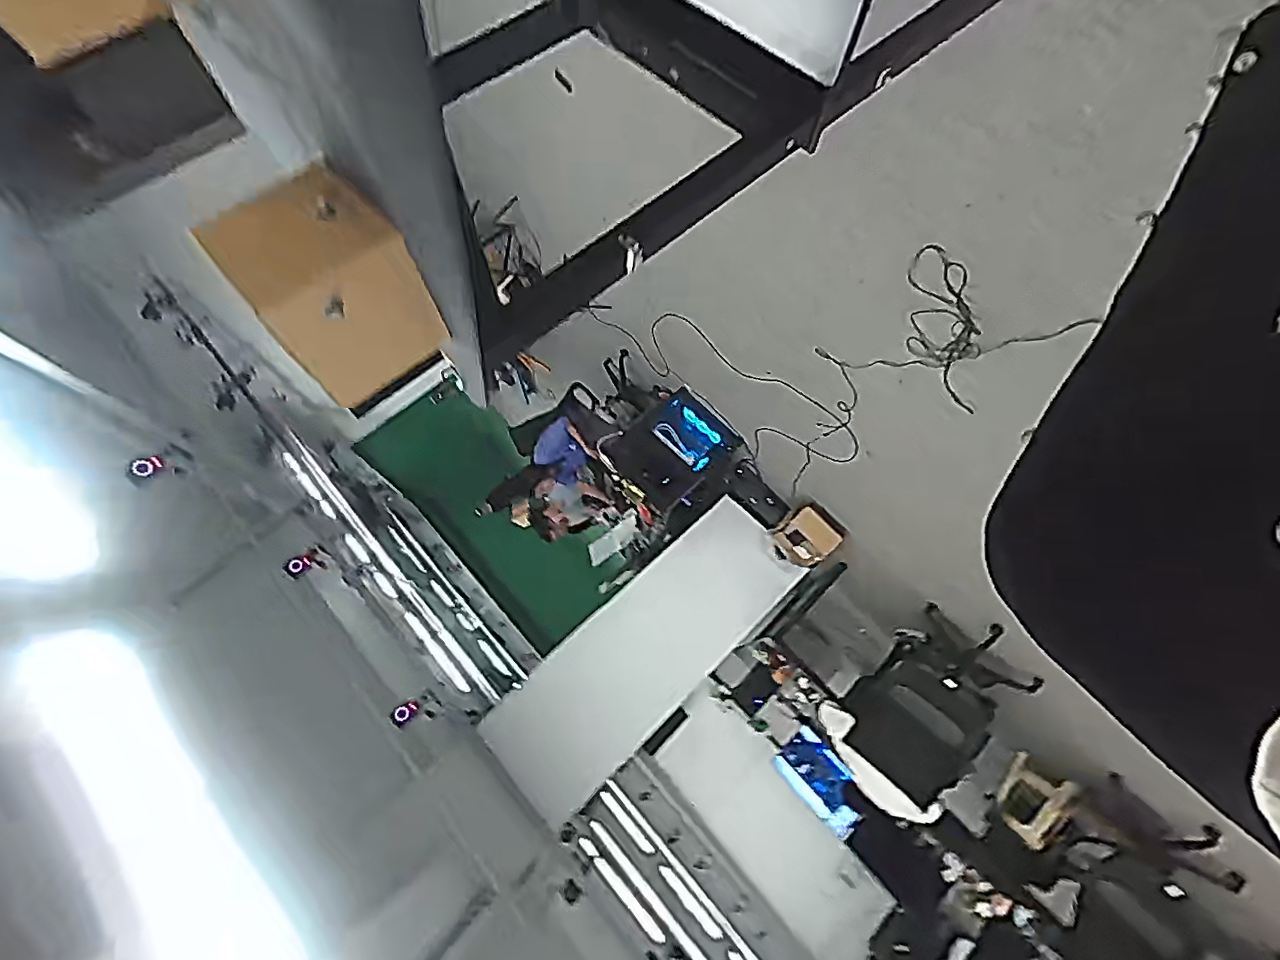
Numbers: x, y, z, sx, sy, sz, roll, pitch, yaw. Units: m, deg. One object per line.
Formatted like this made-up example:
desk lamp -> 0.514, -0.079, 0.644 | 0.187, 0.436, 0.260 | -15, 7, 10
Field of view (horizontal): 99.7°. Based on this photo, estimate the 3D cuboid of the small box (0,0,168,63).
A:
small box -> -0.537, -0.508, 0.438 | 0.168, 0.176, 0.179 | 46, 165, 10
